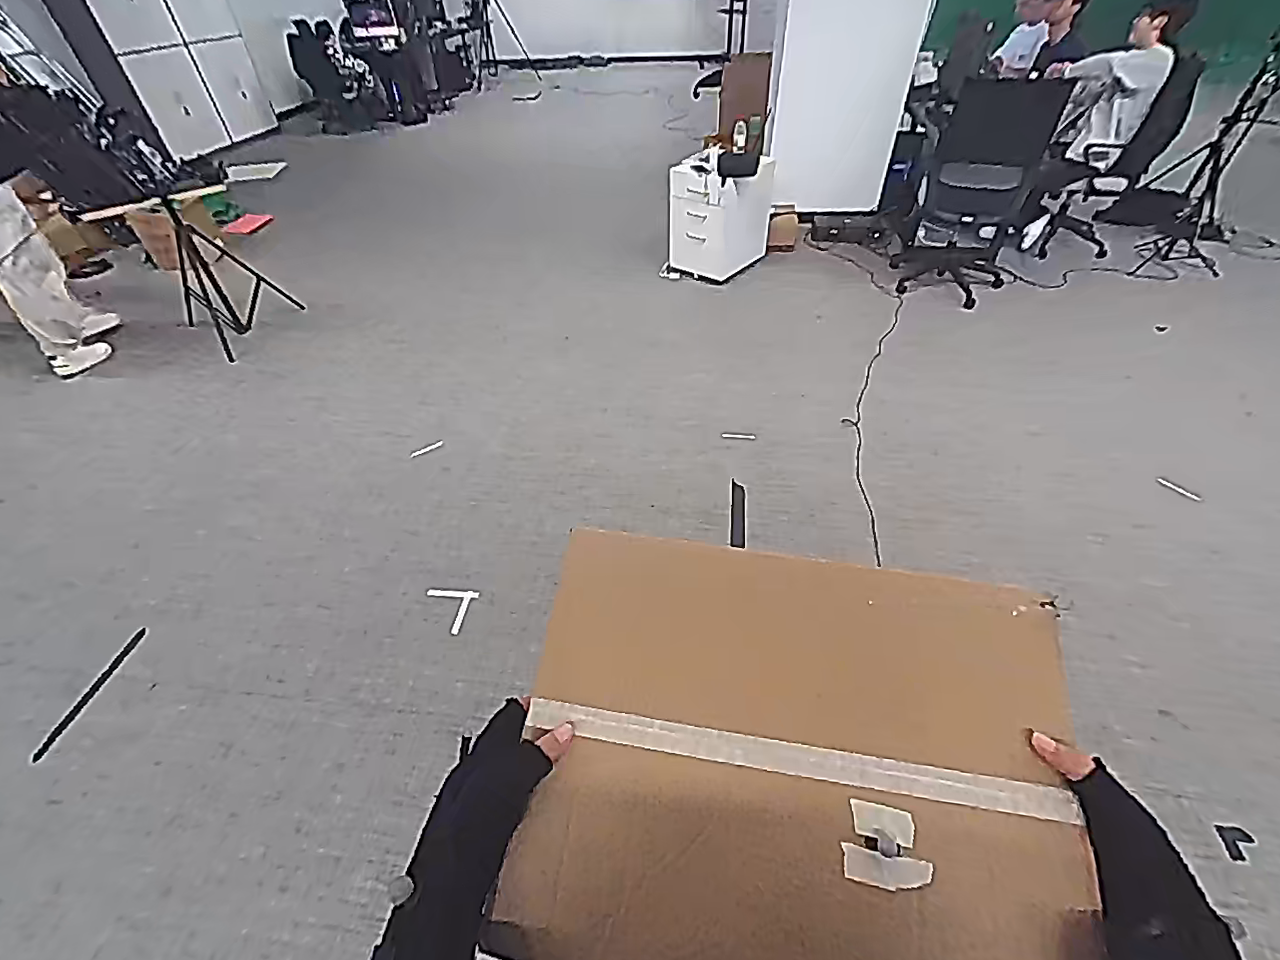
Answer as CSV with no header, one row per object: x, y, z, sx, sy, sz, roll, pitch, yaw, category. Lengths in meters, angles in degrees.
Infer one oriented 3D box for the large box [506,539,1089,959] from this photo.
0.126,0.273,0.556,0.408,0.320,0.320,7,68,7,large box
